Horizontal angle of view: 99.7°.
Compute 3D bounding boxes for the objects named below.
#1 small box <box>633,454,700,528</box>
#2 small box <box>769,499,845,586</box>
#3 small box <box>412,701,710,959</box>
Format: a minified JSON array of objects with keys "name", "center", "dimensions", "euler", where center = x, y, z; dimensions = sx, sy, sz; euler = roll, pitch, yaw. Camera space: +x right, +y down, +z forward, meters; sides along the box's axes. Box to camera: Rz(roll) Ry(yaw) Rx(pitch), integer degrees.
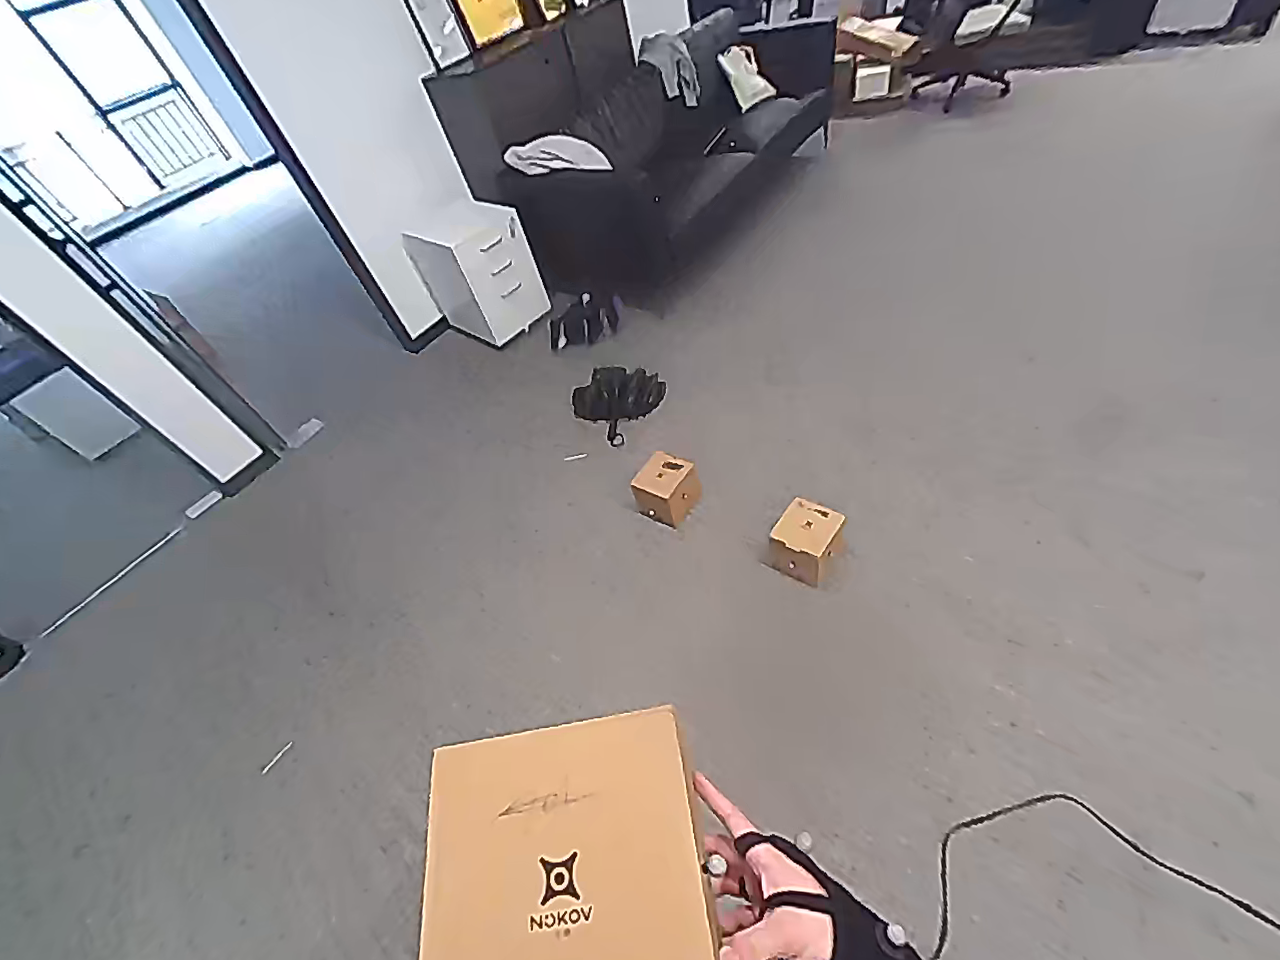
[{"name":"small box","center":[0.104,0.040,1.953],"dimensions":[0.168,0.176,0.179],"euler":[22,60,33]},{"name":"small box","center":[0.521,0.197,1.678],"dimensions":[0.168,0.176,0.179],"euler":[24,61,34]},{"name":"small box","center":[-0.046,0.283,0.396],"dimensions":[0.168,0.176,0.179],"euler":[-11,55,1]}]
